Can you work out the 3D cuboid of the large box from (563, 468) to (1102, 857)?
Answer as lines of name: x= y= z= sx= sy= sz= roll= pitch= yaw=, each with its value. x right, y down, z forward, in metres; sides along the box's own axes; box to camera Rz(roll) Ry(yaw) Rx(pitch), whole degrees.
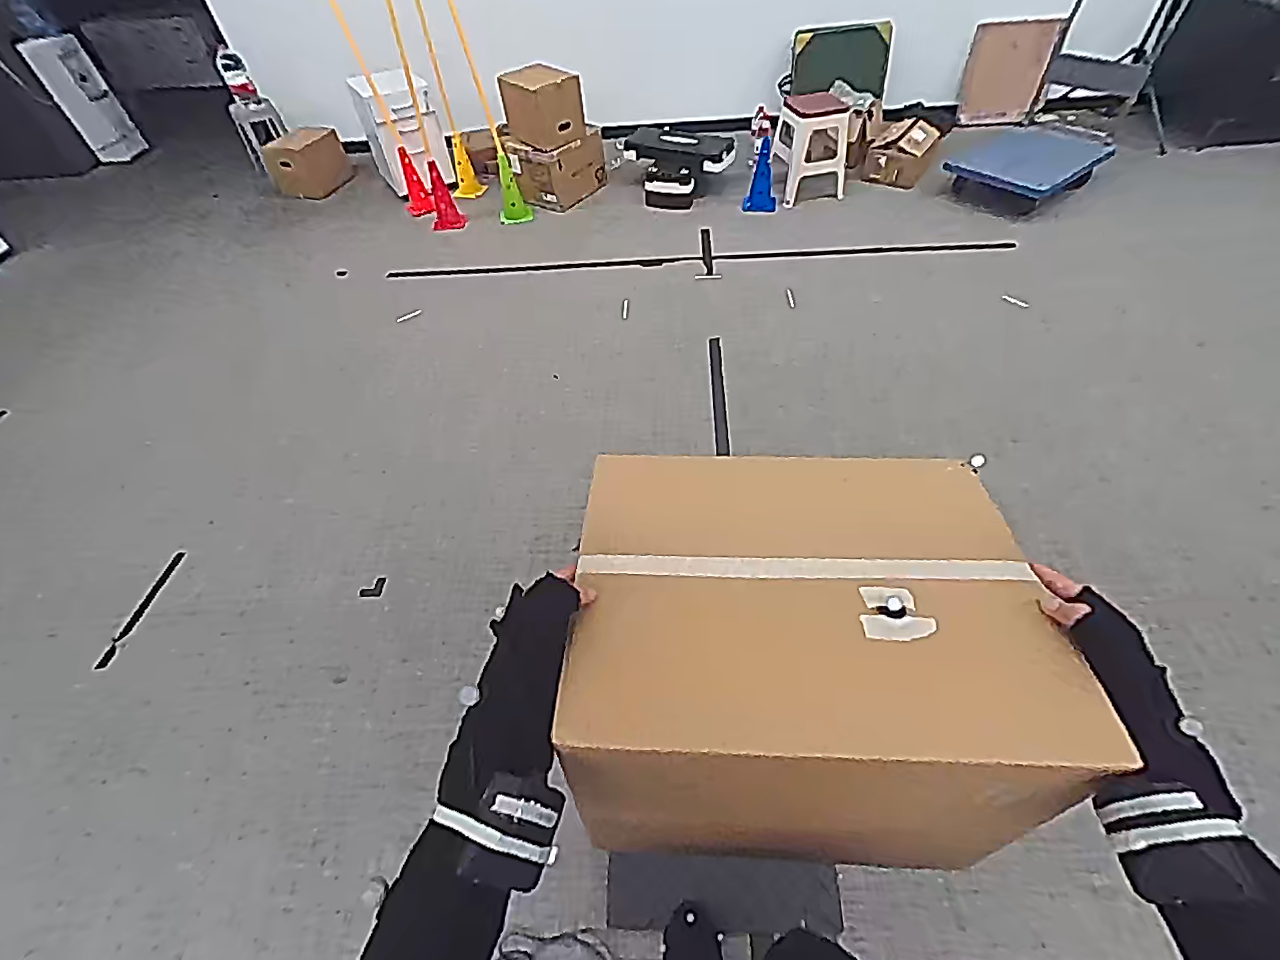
large box: x=0.146 y=0.200 z=0.606 sx=0.408 sy=0.320 sz=0.320 roll=1 pitch=44 yaw=3

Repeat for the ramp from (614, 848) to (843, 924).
ramp: x=0.187 y=0.500 z=1.385 sx=0.509 sy=0.206 sz=0.991 roll=-2 pitch=50 yaw=1
